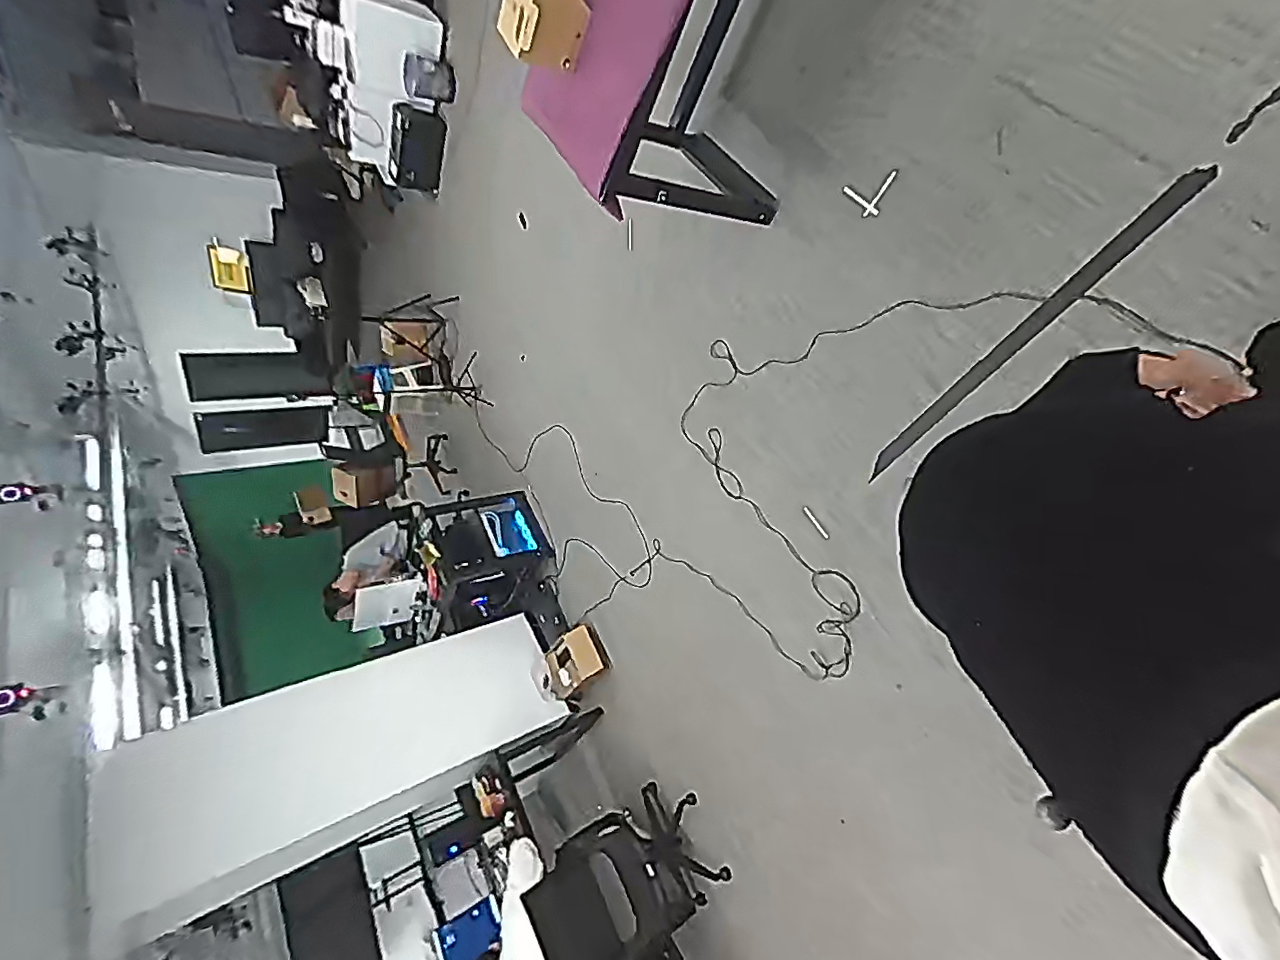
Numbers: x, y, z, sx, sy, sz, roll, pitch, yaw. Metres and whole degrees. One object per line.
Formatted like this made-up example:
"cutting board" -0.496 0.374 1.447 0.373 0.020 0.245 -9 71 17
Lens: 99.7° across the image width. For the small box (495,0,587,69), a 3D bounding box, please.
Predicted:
"small box" -0.266 -1.254 1.461 0.168 0.176 0.179 -51 59 46
